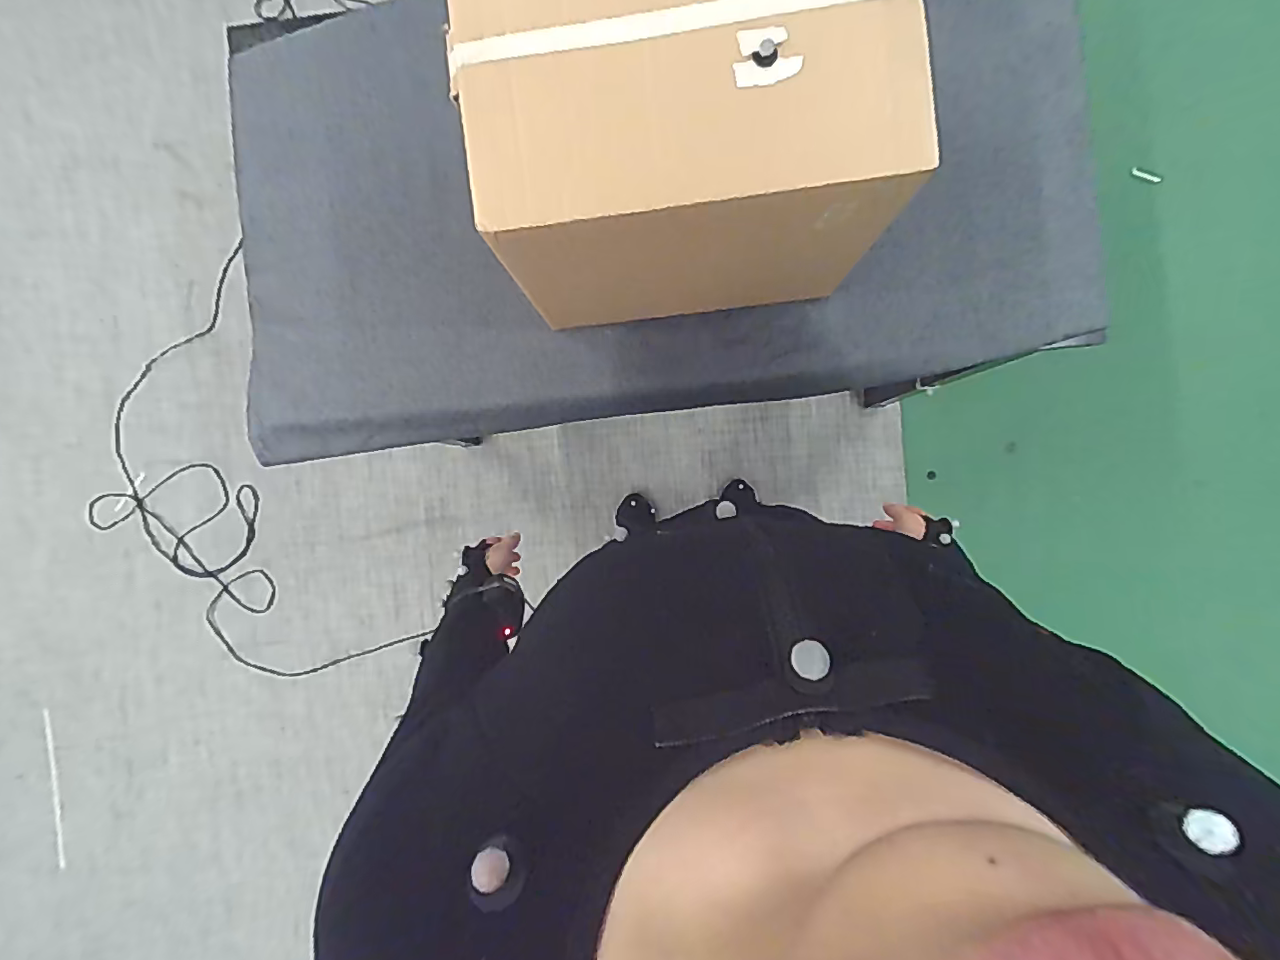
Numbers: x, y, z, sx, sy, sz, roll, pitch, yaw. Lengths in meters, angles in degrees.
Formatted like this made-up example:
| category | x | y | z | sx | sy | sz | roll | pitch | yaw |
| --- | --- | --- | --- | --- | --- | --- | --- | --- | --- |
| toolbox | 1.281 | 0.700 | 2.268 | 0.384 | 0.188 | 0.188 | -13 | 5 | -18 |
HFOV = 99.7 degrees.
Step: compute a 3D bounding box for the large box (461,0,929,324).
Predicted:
| category | x | y | z | sx | sy | sz | roll | pitch | yaw |
| --- | --- | --- | --- | --- | --- | --- | --- | --- | --- |
| large box | 0.045 | -0.402 | 0.633 | 0.408 | 0.320 | 0.320 | -7 | 90 | 2 |
